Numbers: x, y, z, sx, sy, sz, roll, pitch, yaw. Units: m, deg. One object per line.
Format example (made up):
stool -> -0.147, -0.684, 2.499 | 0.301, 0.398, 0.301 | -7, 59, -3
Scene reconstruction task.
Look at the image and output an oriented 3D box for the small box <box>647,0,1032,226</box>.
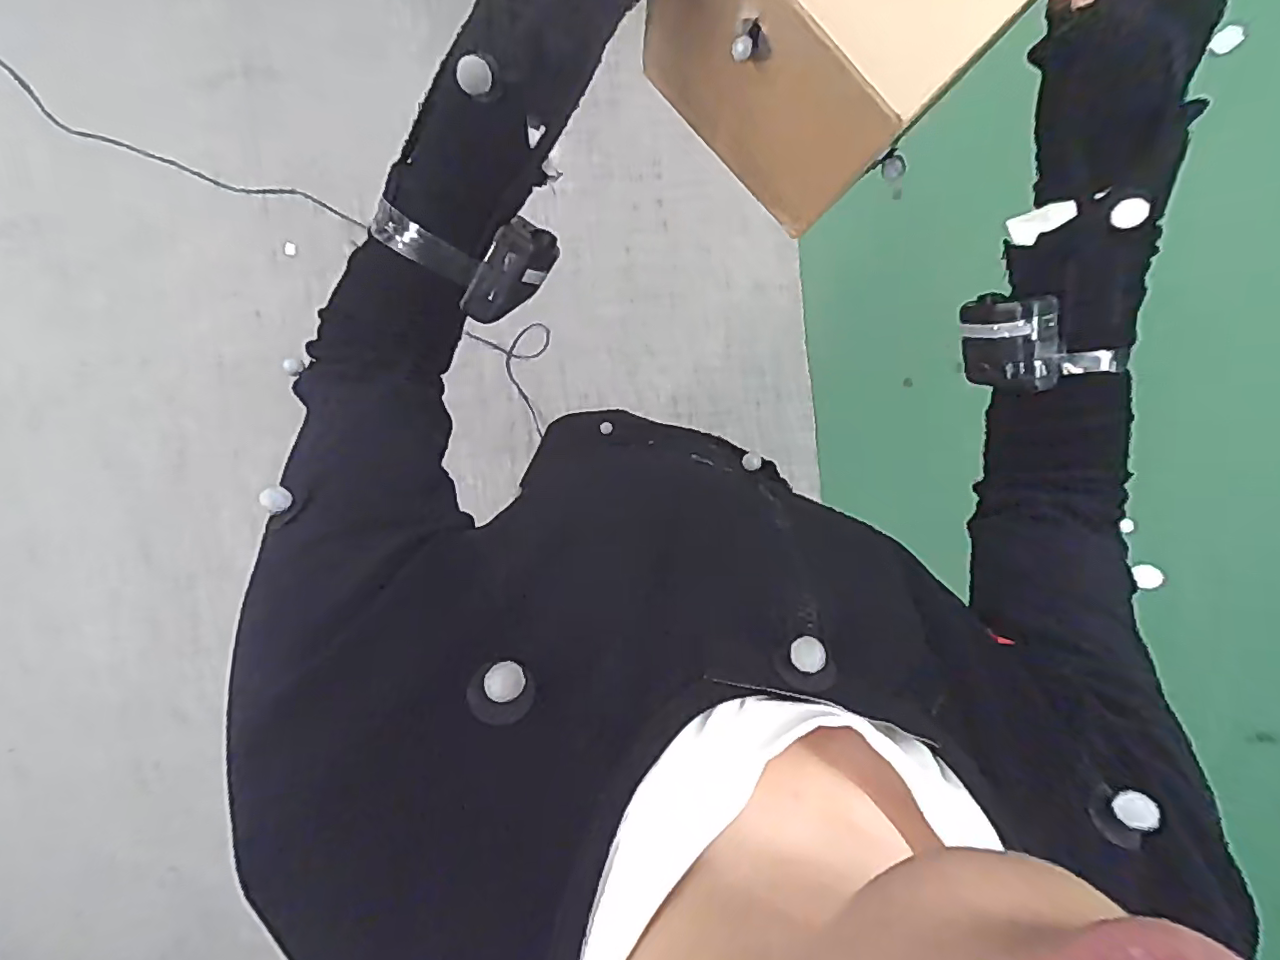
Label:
small box -> 0.119, -0.298, 0.331 | 0.168, 0.176, 0.179 | -44, 96, 2
